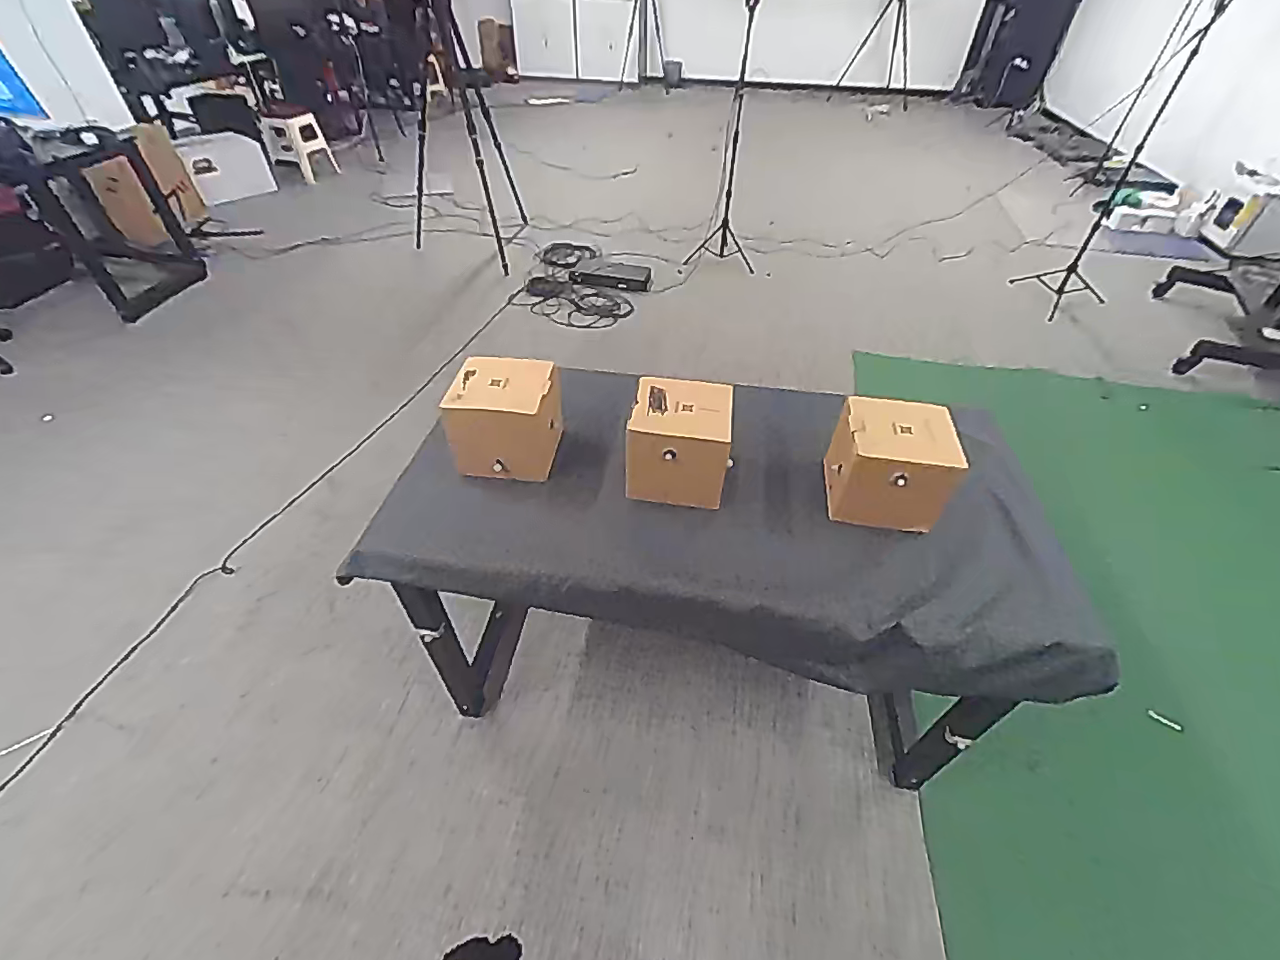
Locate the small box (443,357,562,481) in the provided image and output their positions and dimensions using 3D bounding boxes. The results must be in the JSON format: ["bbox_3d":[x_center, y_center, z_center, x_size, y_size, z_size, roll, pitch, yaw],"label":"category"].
[{"bbox_3d":[-0.253,-0.115,1.050,0.179,0.176,0.168,6,45,3],"label":"small box"}]

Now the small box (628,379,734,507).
[{"bbox_3d":[0.076,-0.067,1.011,0.179,0.176,0.168,7,45,5],"label":"small box"}]

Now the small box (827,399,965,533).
[{"bbox_3d":[0.447,-0.023,0.982,0.179,0.176,0.168,8,46,6],"label":"small box"}]
